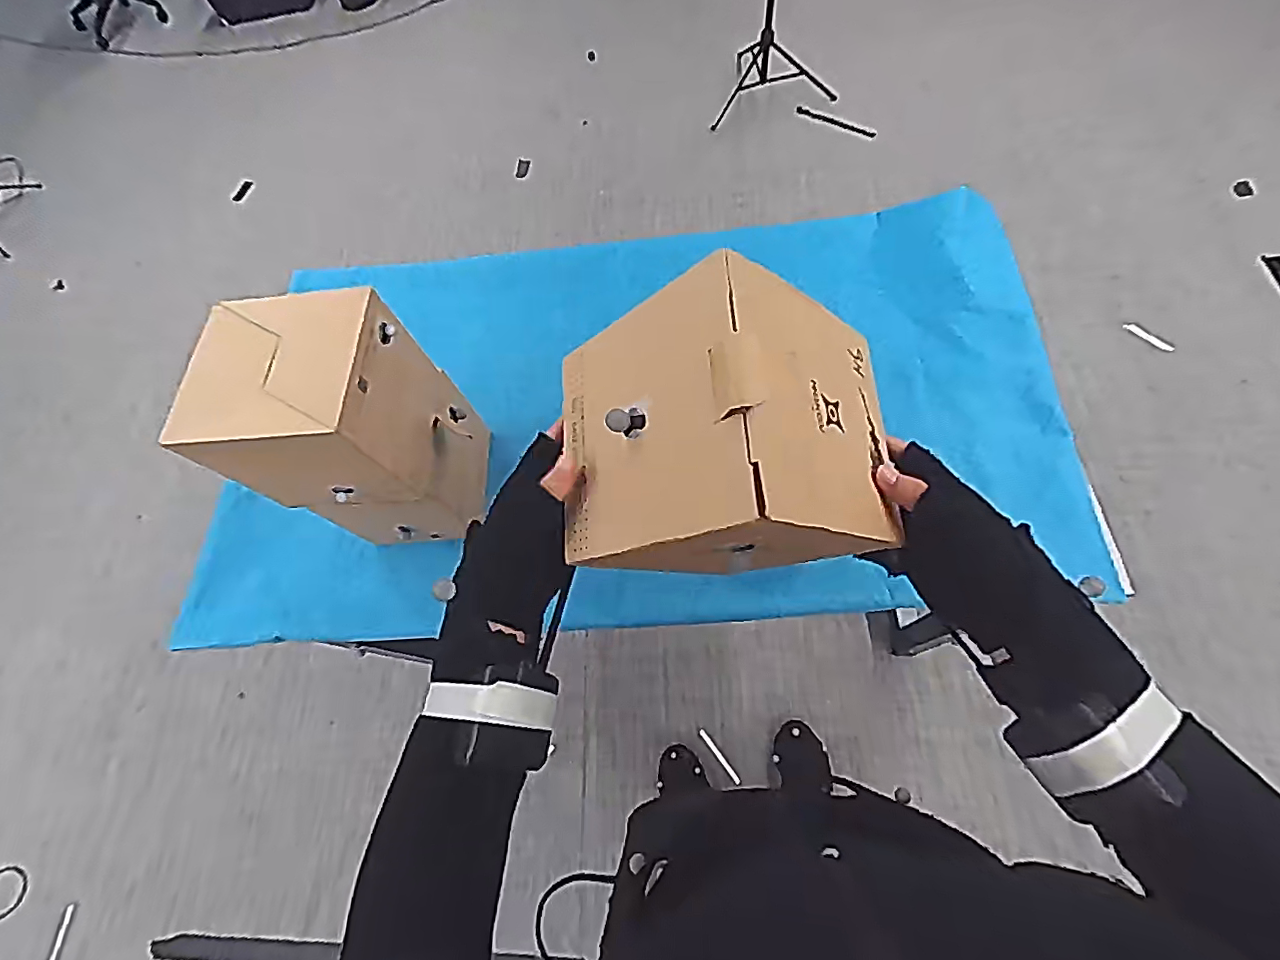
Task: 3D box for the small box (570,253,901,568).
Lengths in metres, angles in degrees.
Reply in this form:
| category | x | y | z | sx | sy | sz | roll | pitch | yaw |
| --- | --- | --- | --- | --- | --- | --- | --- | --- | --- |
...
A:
| category | x | y | z | sx | sy | sz | roll | pitch | yaw |
| --- | --- | --- | --- | --- | --- | --- | --- | --- | --- |
| small box | 0.059 | -0.026 | 0.405 | 0.176 | 0.179 | 0.168 | -21 | 69 | 46 |

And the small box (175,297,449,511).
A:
| category | x | y | z | sx | sy | sz | roll | pitch | yaw |
| --- | --- | --- | --- | --- | --- | --- | --- | --- | --- |
| small box | -0.335 | -0.075 | 0.586 | 0.179 | 0.176 | 0.168 | -3 | 66 | 7 |

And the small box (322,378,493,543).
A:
| category | x | y | z | sx | sy | sz | roll | pitch | yaw |
| --- | --- | --- | --- | --- | --- | --- | --- | --- | --- |
| small box | -0.315 | -0.020 | 0.742 | 0.168 | 0.176 | 0.179 | -3 | 68 | 9 |
